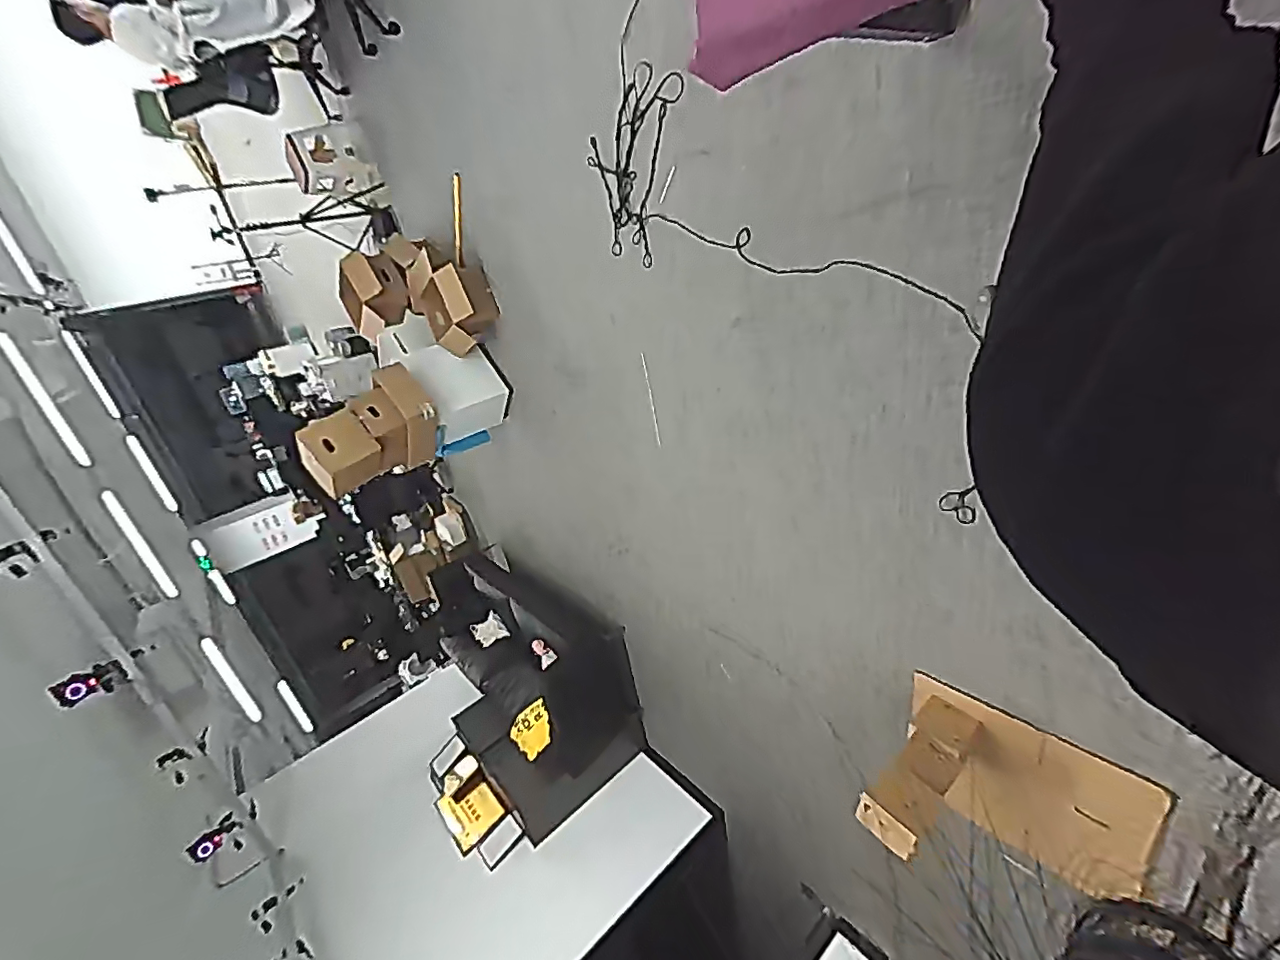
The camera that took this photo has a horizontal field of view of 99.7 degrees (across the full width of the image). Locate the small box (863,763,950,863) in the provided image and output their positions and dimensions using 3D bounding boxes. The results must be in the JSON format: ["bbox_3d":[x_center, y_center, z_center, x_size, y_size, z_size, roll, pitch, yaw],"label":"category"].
[{"bbox_3d":[0.835,1.035,1.692,0.179,0.176,0.168,31,137,40],"label":"small box"}]

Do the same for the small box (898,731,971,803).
[{"bbox_3d":[0.954,0.978,1.790,0.168,0.176,0.179,39,142,34],"label":"small box"}]
